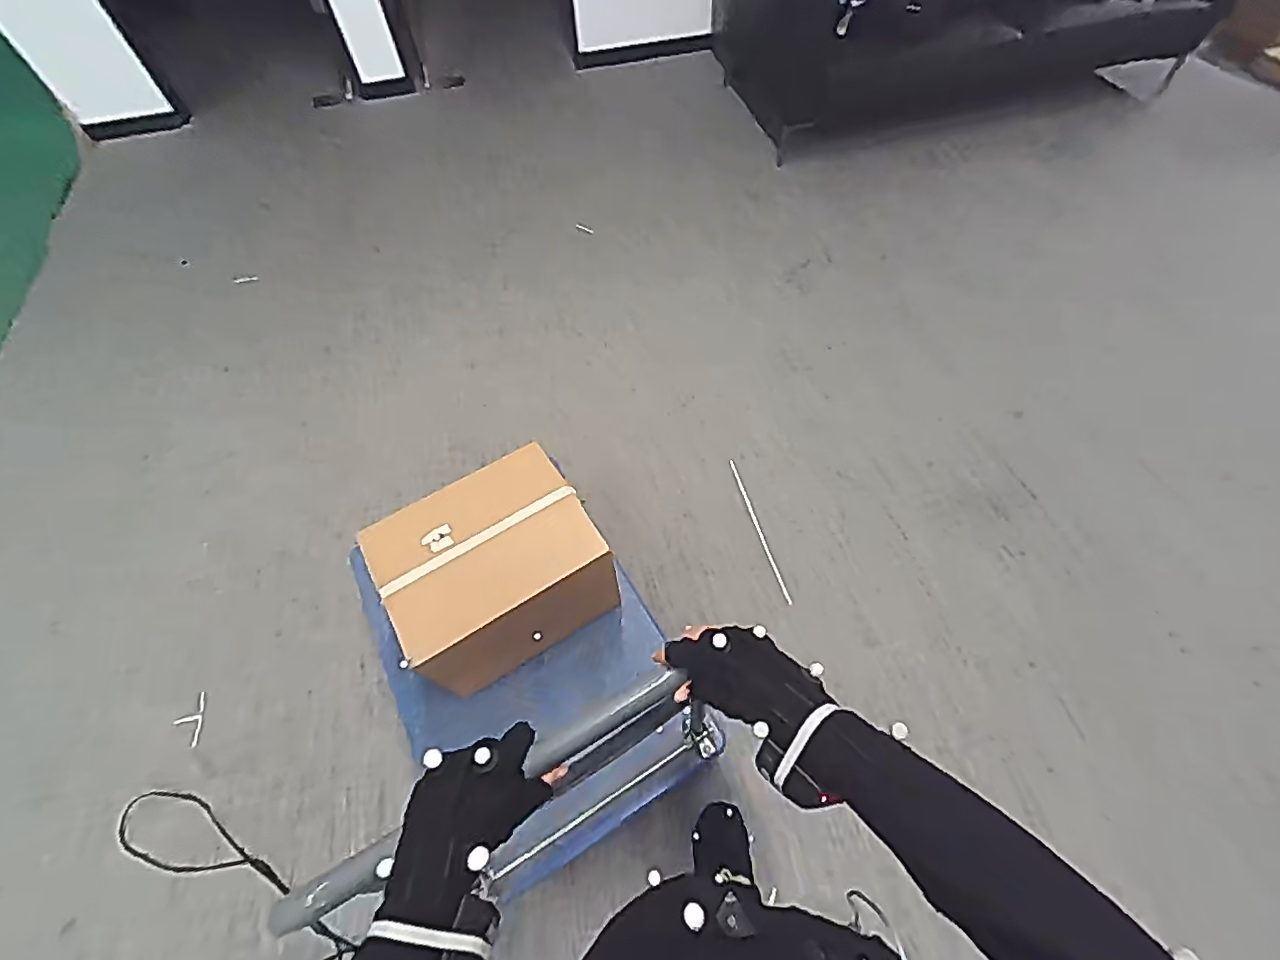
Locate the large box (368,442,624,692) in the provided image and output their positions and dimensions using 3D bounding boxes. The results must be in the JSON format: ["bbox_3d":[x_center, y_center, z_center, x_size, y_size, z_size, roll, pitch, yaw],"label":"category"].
[{"bbox_3d":[-0.287,0.195,1.182,0.408,0.320,0.320,-30,62,-15],"label":"large box"}]
